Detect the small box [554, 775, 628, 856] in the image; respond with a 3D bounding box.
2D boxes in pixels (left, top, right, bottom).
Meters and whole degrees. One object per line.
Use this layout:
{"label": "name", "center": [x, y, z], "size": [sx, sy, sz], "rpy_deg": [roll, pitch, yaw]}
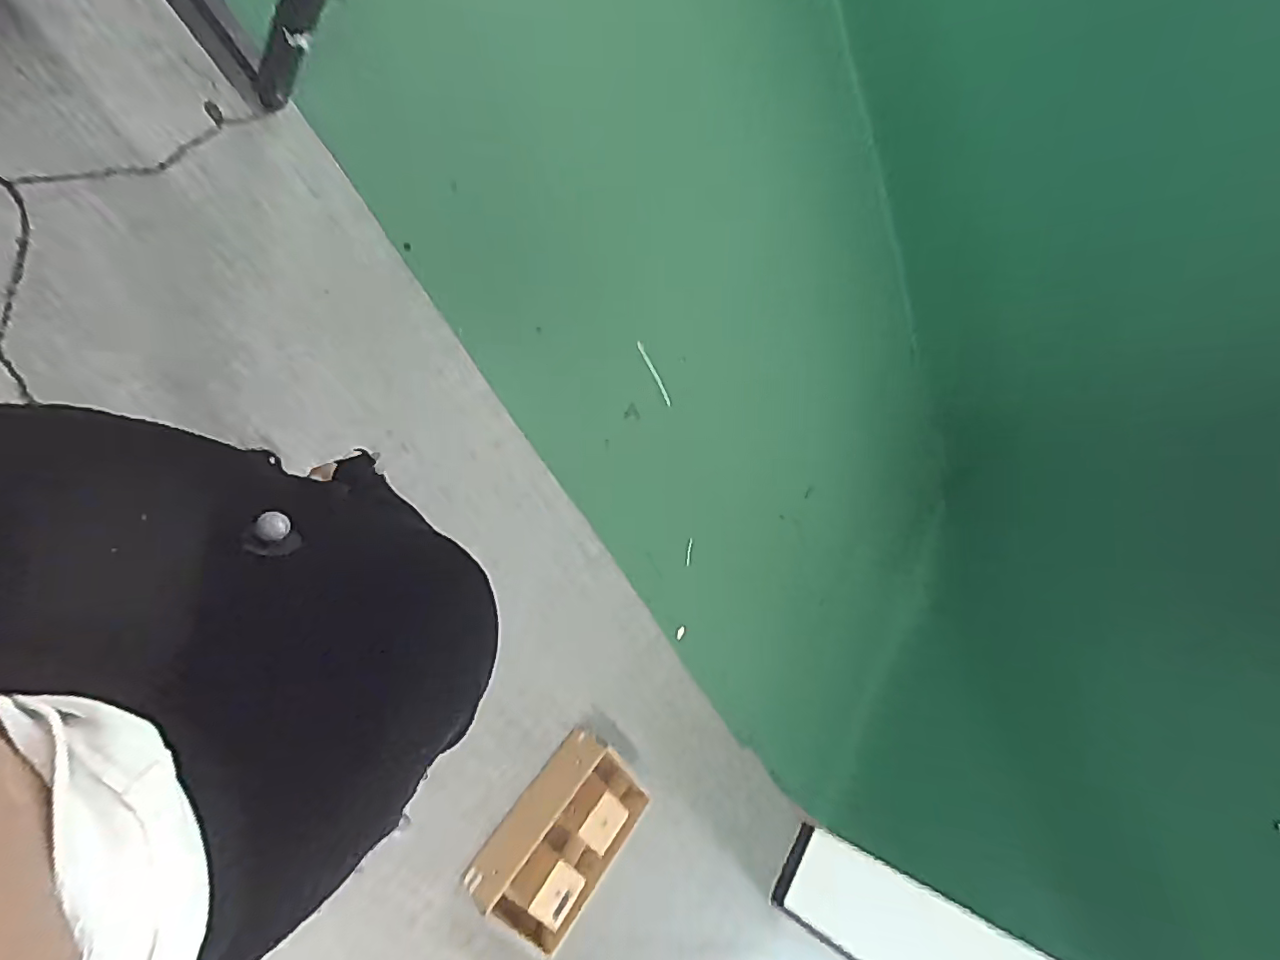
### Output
{"label": "small box", "center": [-0.184, 1.229, 1.995], "size": [0.168, 0.176, 0.179], "rpy_deg": [-47, 122, -27]}
